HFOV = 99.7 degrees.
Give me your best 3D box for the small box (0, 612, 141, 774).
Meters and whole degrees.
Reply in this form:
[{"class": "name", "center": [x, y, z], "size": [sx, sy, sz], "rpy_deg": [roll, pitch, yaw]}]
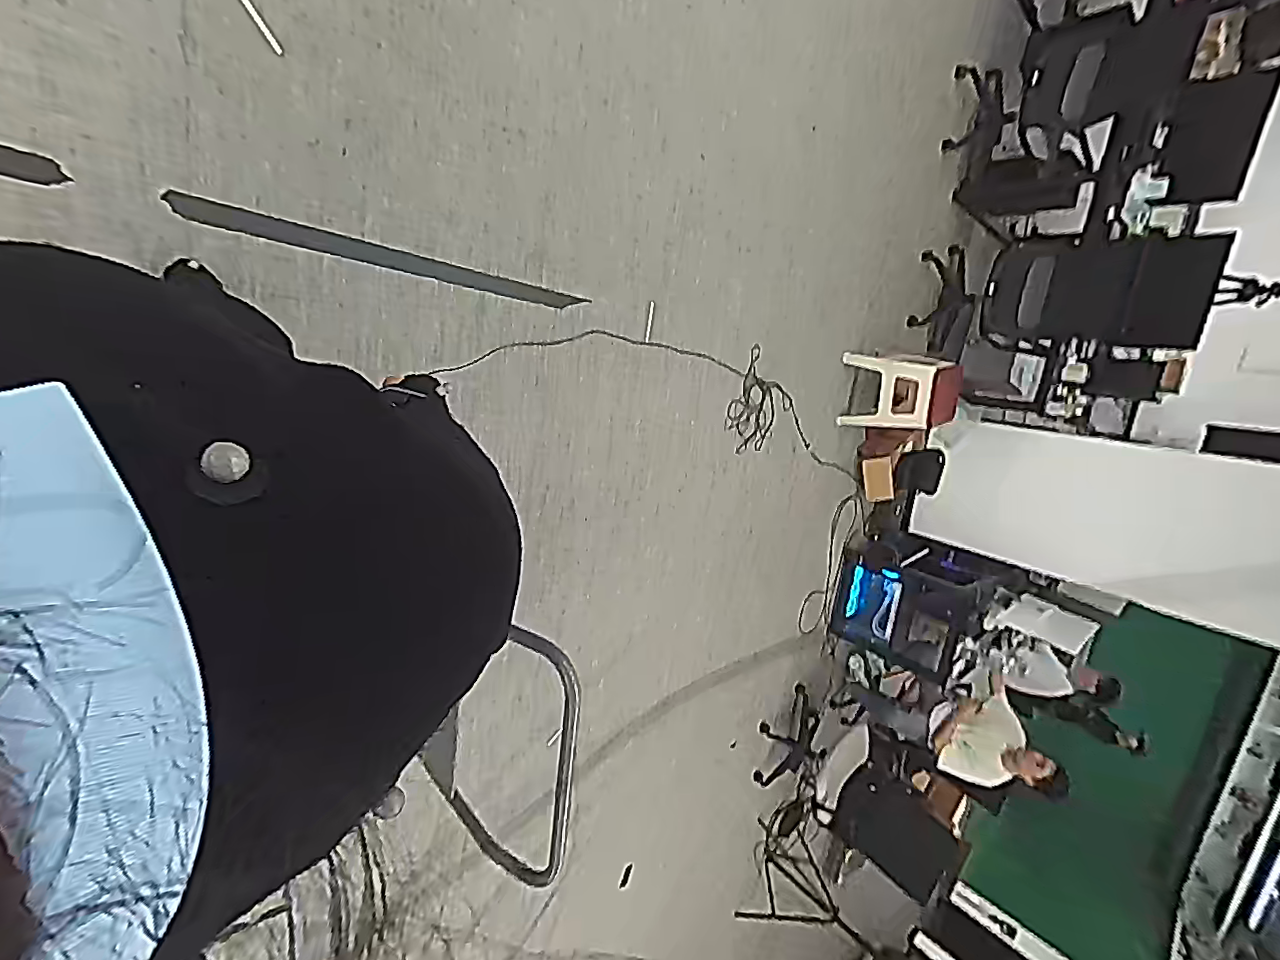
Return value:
[{"class": "small box", "center": [-0.991, 0.357, 0.943], "size": [0.168, 0.176, 0.179], "rpy_deg": [-7, 108, -41]}]
